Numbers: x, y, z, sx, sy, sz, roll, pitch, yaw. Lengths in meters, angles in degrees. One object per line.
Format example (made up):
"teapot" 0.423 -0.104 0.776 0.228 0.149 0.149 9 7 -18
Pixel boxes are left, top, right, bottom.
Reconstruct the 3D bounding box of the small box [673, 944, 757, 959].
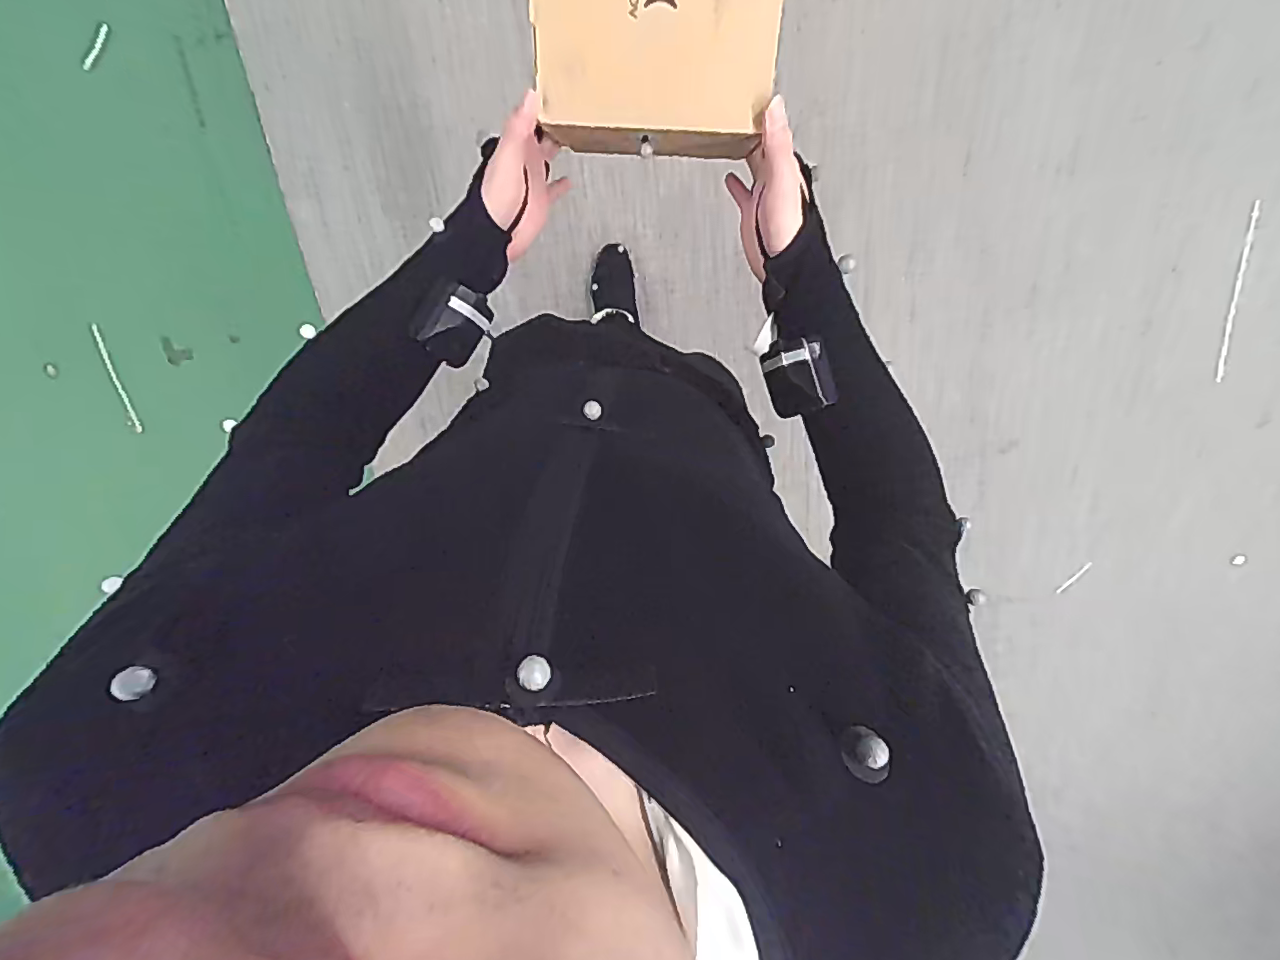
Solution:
"small box" 0.148 1.018 1.011 0.179 0.176 0.168 -8 110 2

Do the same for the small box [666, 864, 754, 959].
"small box" 0.152 0.976 1.172 0.179 0.176 0.168 -10 109 3

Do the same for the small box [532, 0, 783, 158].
"small box" 0.017 -0.370 0.442 0.179 0.176 0.168 5 115 2
